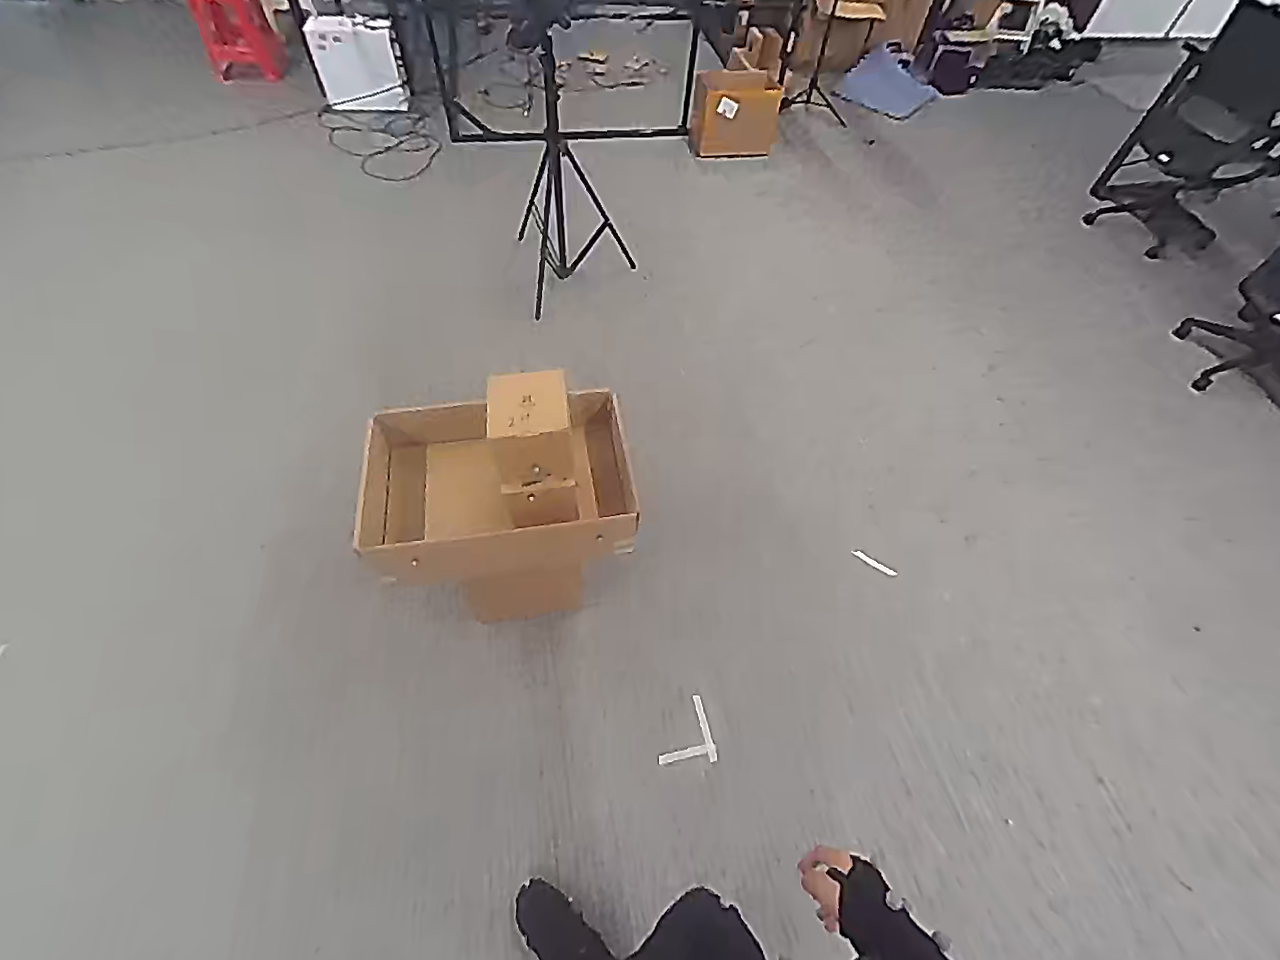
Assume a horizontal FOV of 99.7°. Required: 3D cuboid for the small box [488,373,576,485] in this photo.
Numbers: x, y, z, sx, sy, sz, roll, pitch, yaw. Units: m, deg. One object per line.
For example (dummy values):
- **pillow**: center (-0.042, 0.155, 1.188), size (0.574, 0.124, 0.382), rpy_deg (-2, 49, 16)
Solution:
- **small box**: center (-0.233, -0.110, 1.190), size (0.168, 0.176, 0.179), rpy_deg (-7, 57, -5)
